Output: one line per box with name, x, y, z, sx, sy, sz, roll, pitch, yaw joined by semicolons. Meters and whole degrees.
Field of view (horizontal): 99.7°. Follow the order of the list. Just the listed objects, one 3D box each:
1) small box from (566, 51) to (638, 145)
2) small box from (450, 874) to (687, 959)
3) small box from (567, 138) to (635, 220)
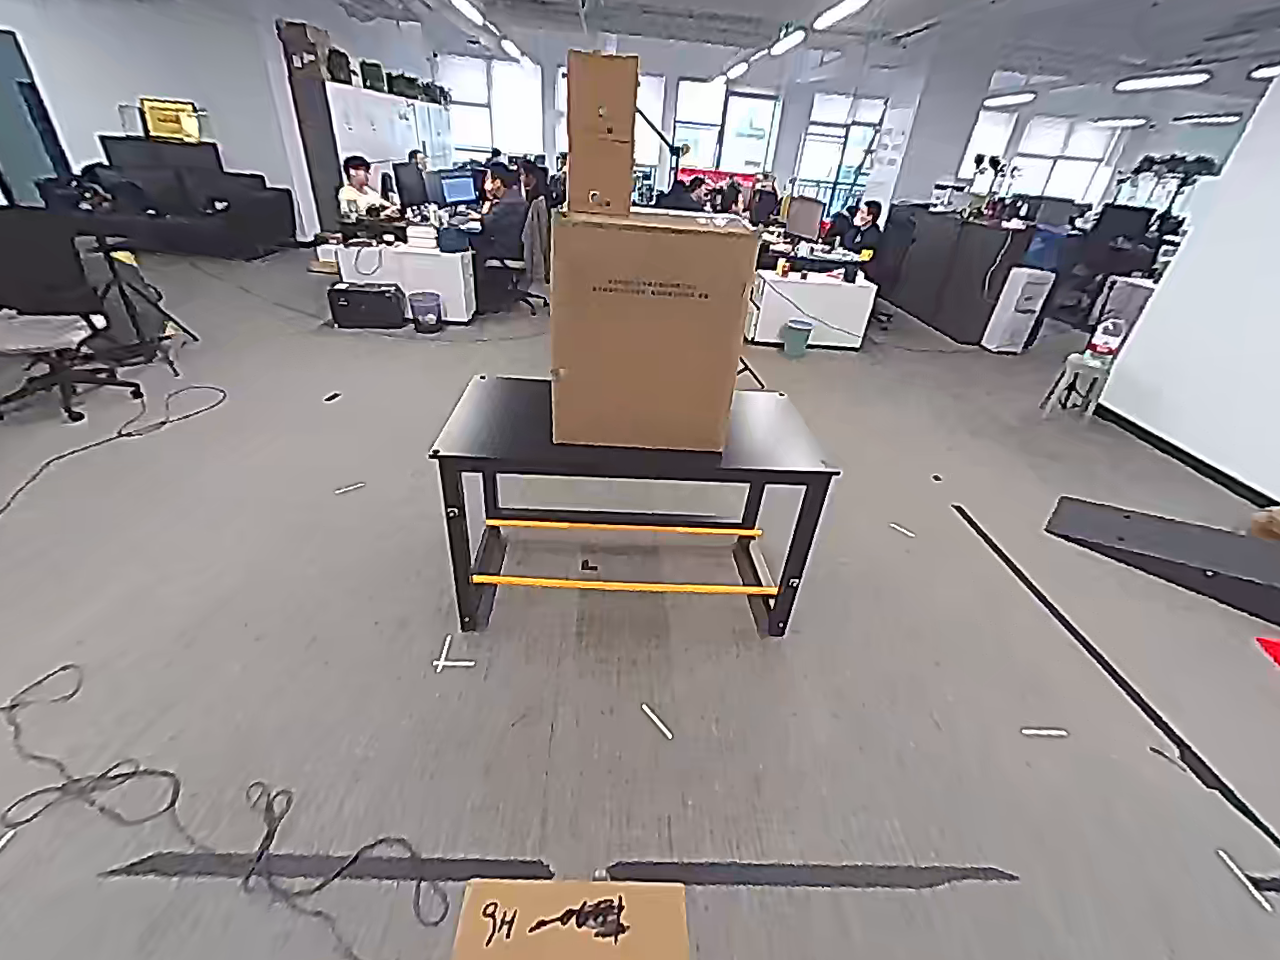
small box;-0.098;-0.934;1.335;0.168;0.176;0.179;1;33;-7
small box;-0.054;0.415;0.394;0.168;0.176;0.179;3;41;-4
small box;-0.109;-0.797;1.425;0.168;0.176;0.179;-1;34;-9
